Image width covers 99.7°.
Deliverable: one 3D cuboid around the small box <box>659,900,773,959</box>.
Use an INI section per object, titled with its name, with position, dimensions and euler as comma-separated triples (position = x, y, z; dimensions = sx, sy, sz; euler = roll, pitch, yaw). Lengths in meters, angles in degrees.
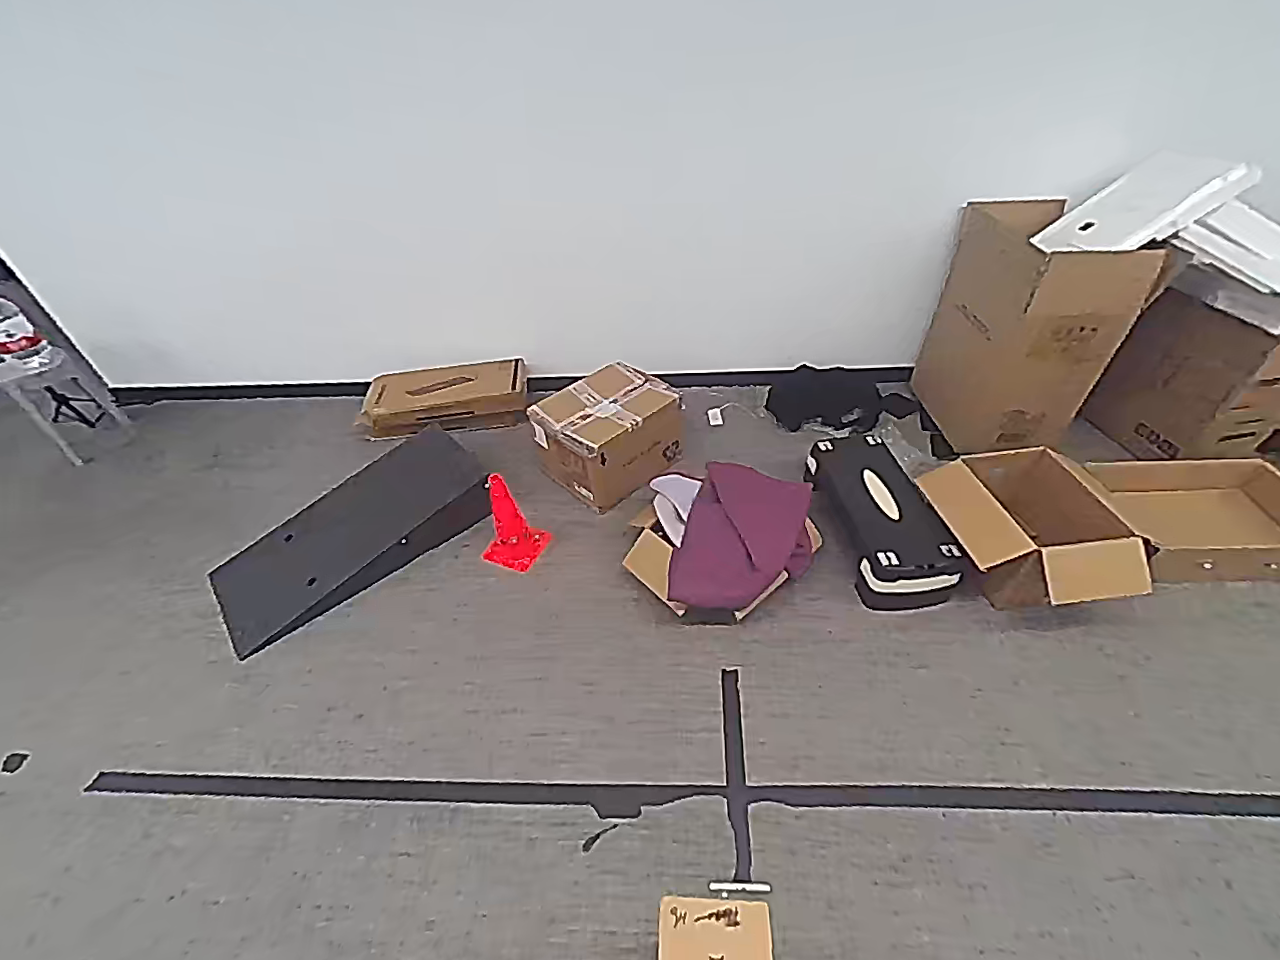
[small box]
position = 0.114, 0.759, 0.809
dimensions = 0.168, 0.176, 0.179
euler = 0, 42, 6
